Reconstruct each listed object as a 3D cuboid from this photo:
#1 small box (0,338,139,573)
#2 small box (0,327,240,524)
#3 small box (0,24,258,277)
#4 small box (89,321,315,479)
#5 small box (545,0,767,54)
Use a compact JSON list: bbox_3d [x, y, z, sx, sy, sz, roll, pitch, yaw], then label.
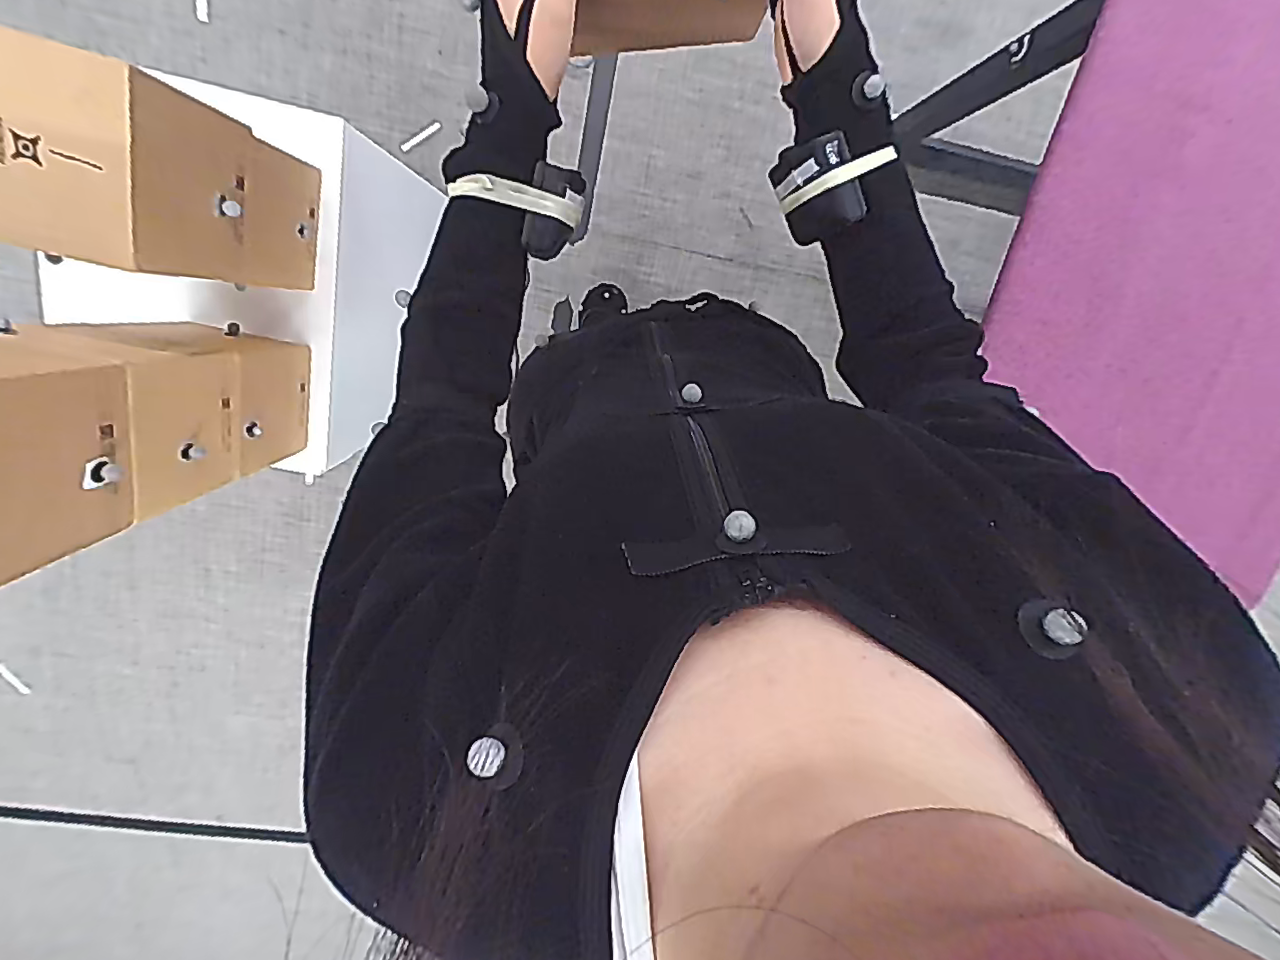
[{"bbox_3d":[-0.564,-0.023,0.431,0.179,0.176,0.168,9,107,-7],"label":"small box"},{"bbox_3d":[-0.573,-0.069,0.587,0.179,0.176,0.168,10,106,-6],"label":"small box"},{"bbox_3d":[-0.512,-0.299,0.518,0.179,0.176,0.168,12,107,-9],"label":"small box"},{"bbox_3d":[-0.584,-0.116,0.742,0.179,0.176,0.168,11,107,-6],"label":"small box"},{"bbox_3d":[0.012,-0.427,0.369,0.179,0.176,0.168,-4,108,1],"label":"small box"}]
